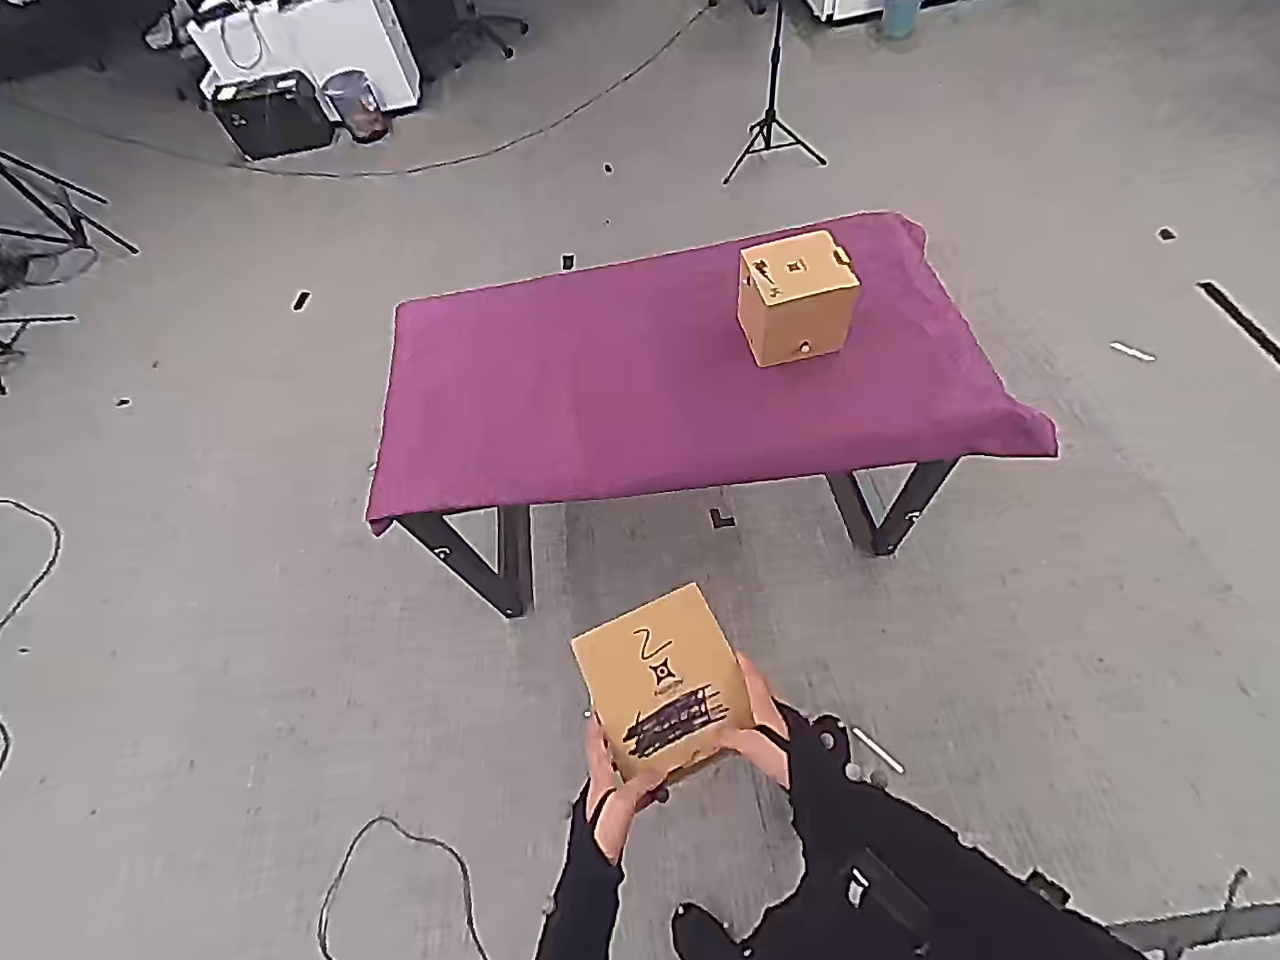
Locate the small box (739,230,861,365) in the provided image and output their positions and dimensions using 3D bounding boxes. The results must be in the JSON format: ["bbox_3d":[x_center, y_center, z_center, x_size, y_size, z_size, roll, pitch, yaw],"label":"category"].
[{"bbox_3d":[0.303,-0.354,1.066,0.179,0.176,0.168,-12,58,0],"label":"small box"}]
